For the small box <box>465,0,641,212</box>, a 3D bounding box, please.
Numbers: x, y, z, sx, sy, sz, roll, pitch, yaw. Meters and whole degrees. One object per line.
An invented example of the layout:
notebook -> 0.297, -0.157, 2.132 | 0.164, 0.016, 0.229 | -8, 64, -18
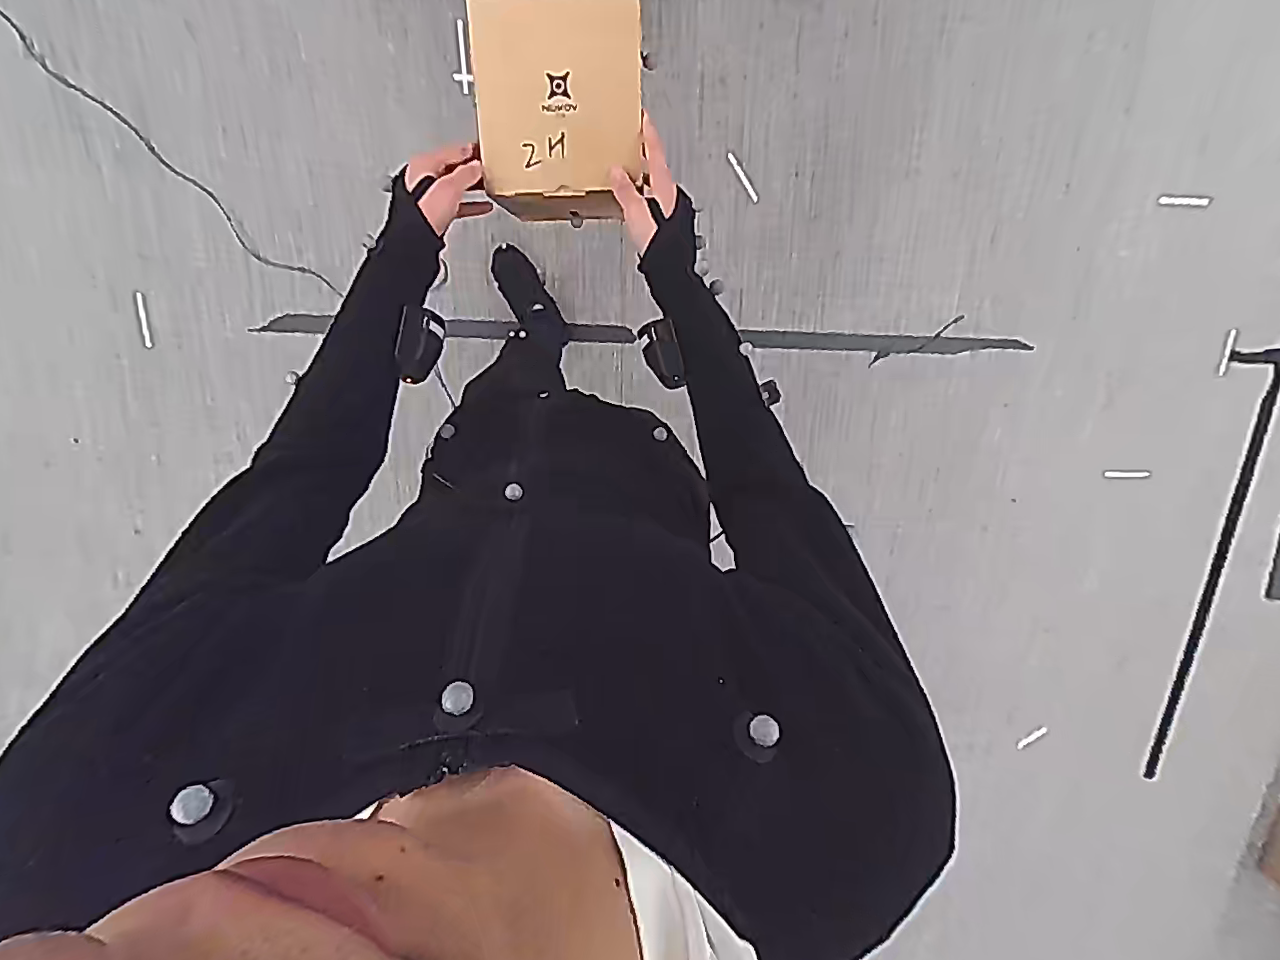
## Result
small box -> -0.084, -0.412, 0.606 | 0.168, 0.176, 0.179 | -1, 108, 2

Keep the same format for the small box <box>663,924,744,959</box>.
small box -> 0.155, 1.223, 1.304 | 0.168, 0.176, 0.179 | 16, 105, -8
